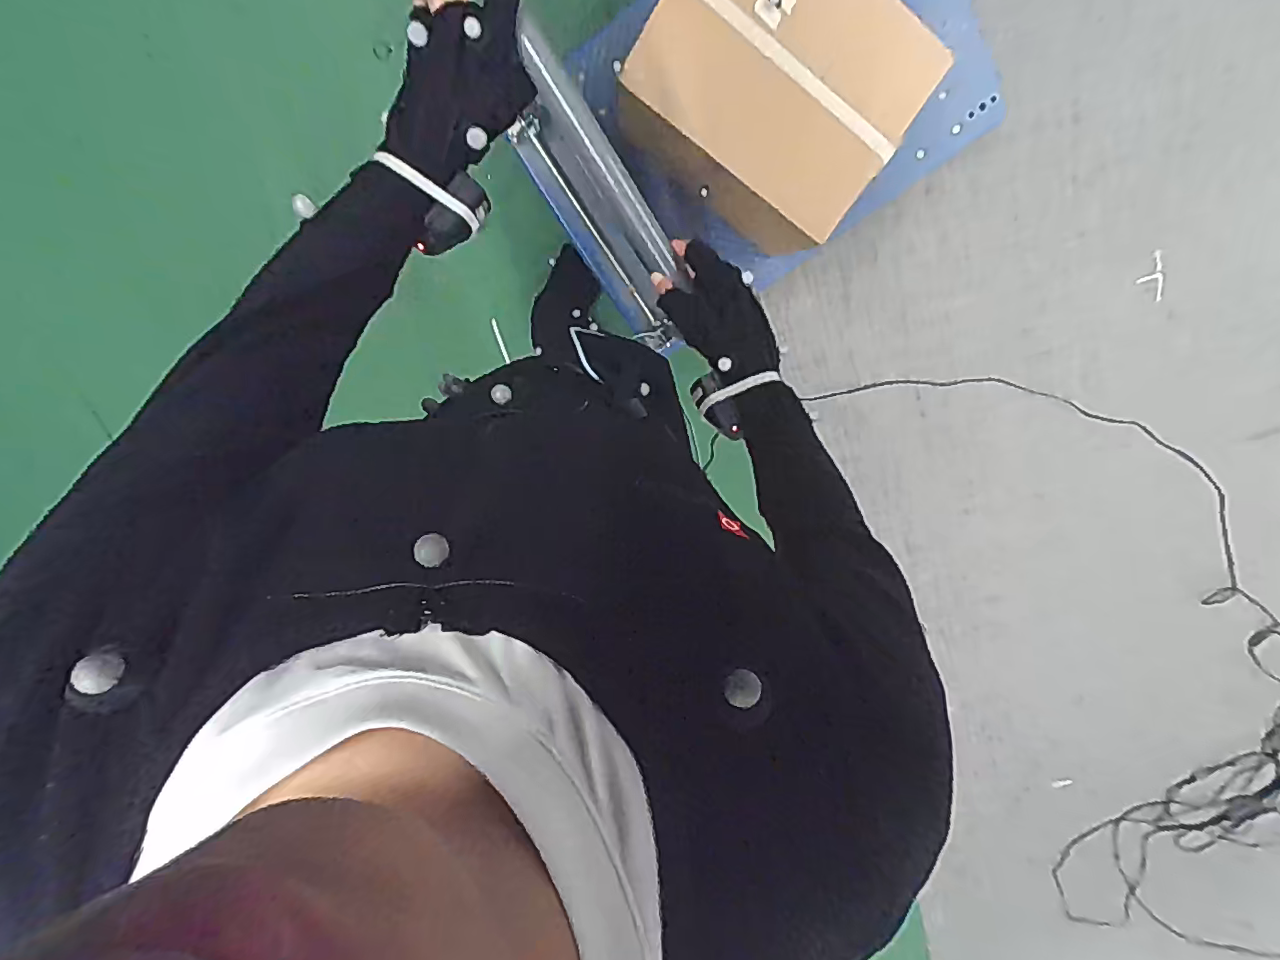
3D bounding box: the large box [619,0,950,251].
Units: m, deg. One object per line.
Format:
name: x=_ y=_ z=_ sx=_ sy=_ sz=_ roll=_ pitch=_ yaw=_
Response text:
large box: x=0.215 y=-0.656 z=0.944 sx=0.408 sy=0.320 sz=0.320 roll=32 pitch=105 yaw=-11
